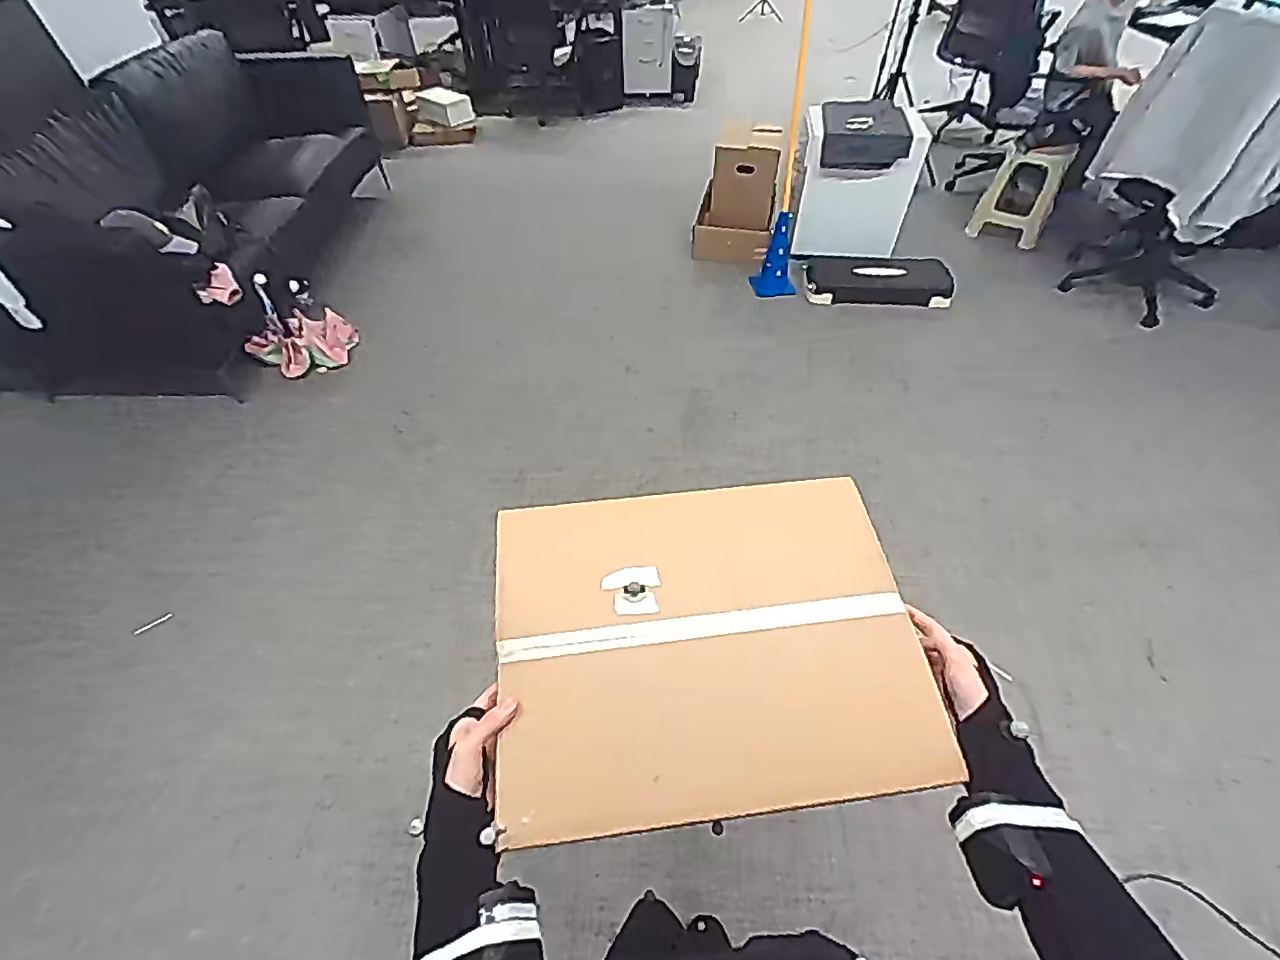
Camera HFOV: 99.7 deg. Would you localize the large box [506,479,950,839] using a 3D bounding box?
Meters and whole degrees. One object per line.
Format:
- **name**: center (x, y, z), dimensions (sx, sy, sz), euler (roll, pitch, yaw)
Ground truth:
- **large box**: center (0.067, 0.227, 0.674), dimensions (0.408, 0.320, 0.320), euler (-6, 58, -4)
